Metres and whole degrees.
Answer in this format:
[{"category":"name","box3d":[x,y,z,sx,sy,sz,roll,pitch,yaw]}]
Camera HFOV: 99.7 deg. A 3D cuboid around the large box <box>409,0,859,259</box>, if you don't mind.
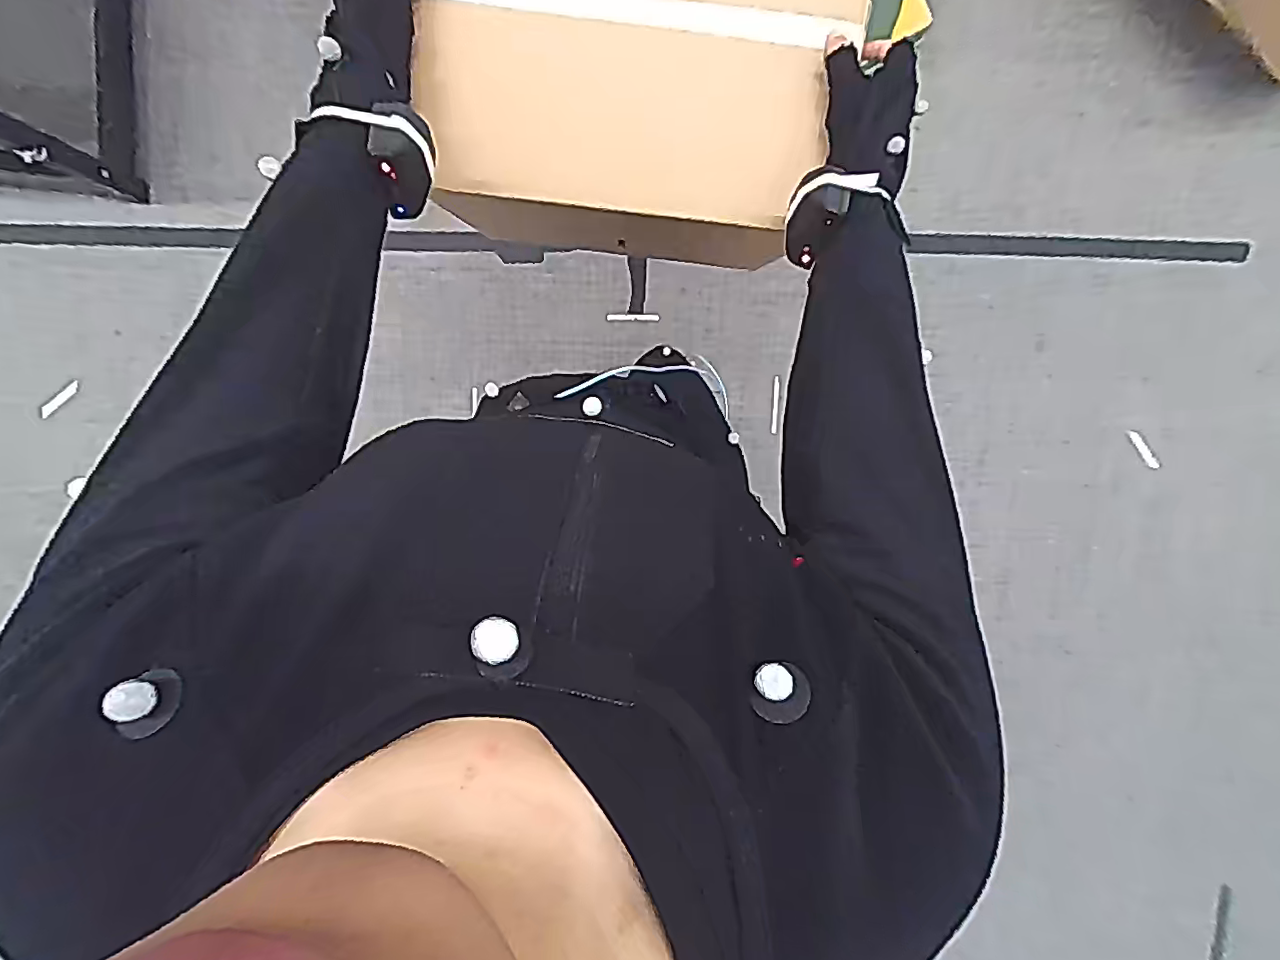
[{"category":"large box","box3d":[-0.005,-0.451,0.624,0.408,0.320,0.320,6,104,-2]}]
